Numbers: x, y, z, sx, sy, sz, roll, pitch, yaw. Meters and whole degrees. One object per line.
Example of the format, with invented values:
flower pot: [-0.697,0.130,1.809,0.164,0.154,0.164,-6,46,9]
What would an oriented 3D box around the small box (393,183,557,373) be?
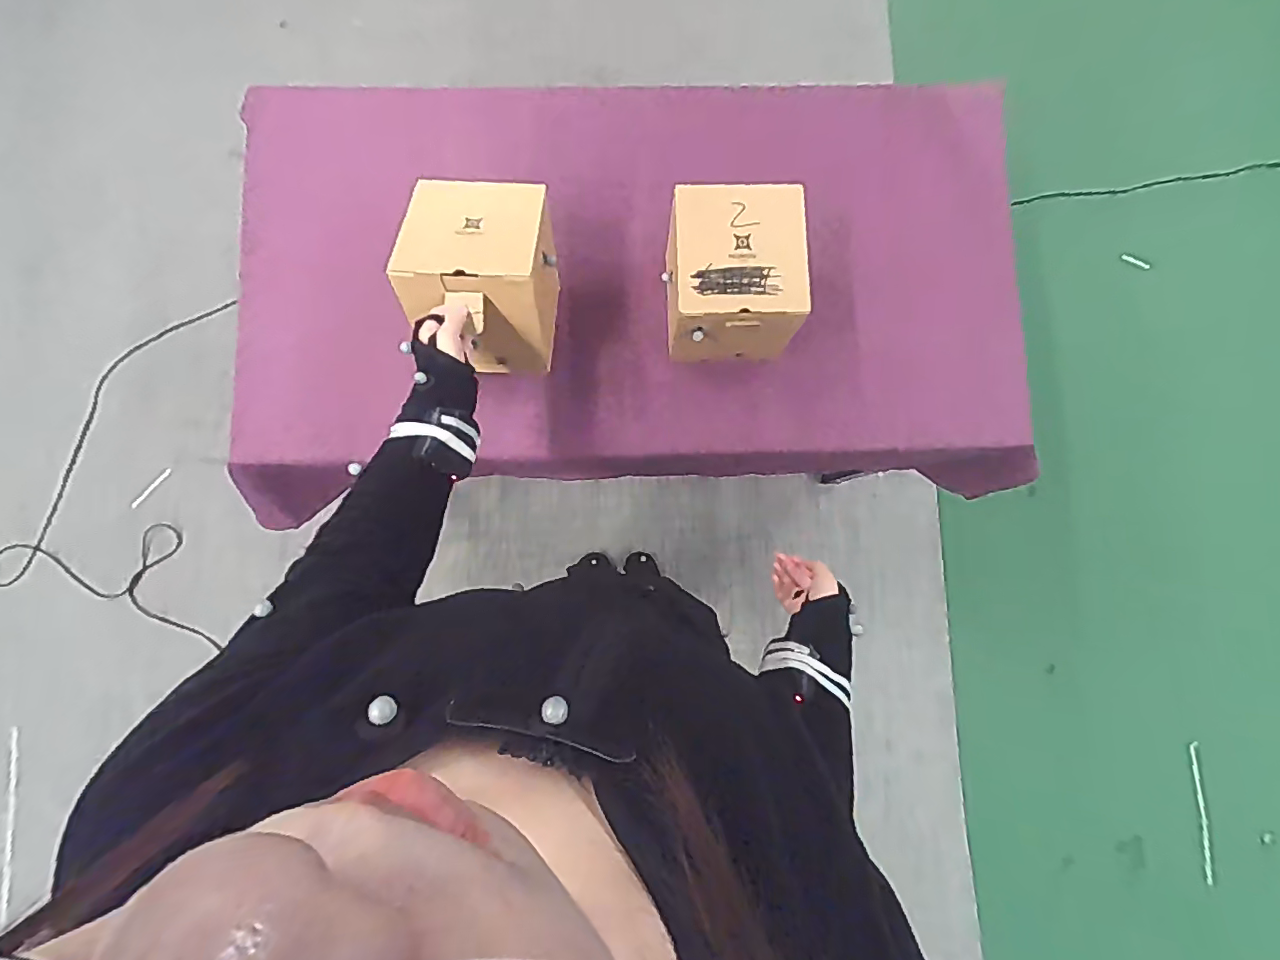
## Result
small box: [-0.207,-0.271,0.738,0.168,0.176,0.179,1,62,-1]
